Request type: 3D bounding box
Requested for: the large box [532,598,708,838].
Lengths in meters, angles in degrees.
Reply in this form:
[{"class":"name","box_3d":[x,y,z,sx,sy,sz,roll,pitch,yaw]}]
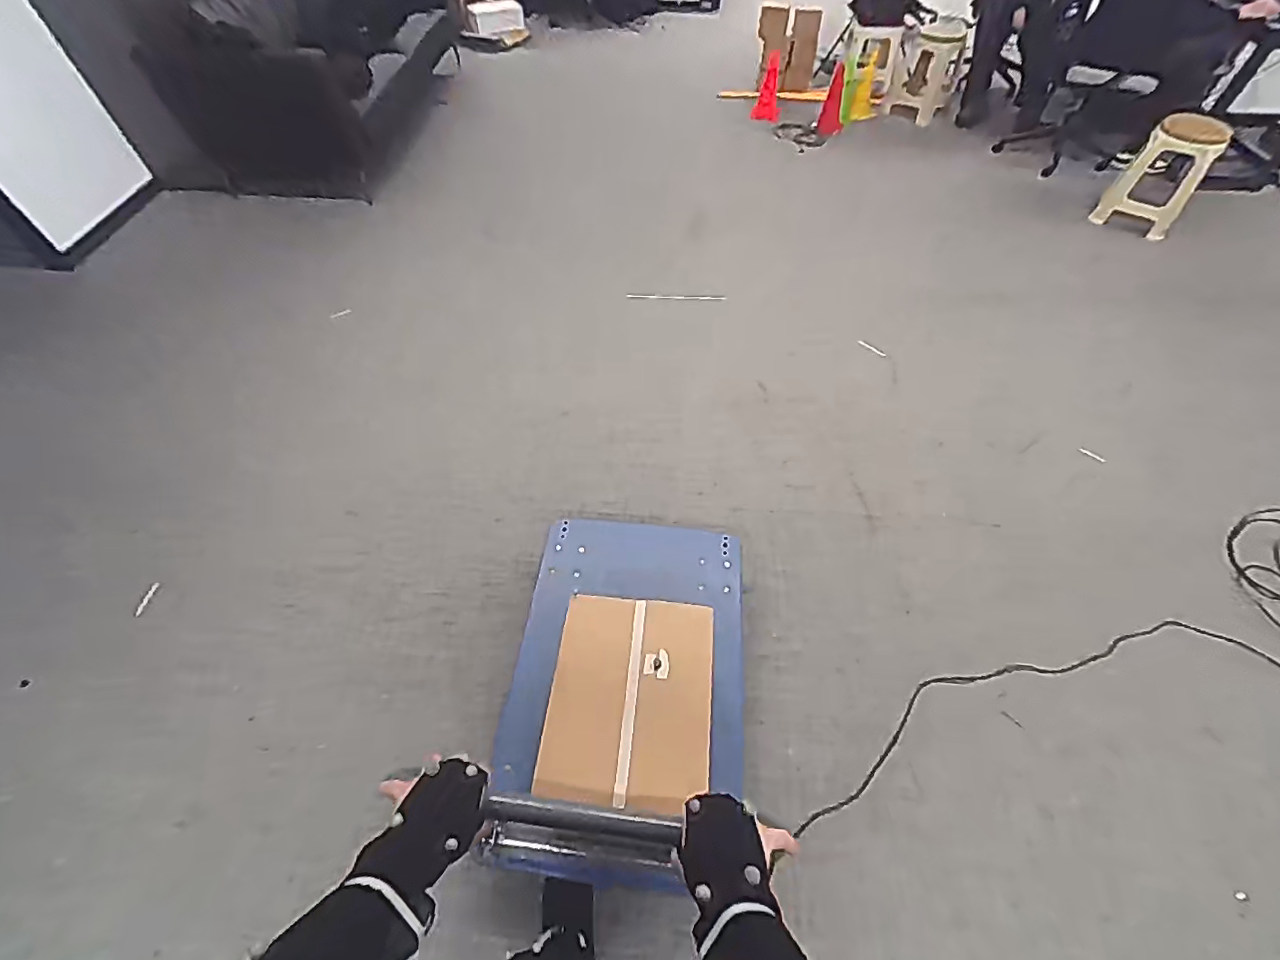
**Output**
[{"class":"large box","box_3d":[-0.024,0.516,1.173,0.320,0.320,0.408,5,52,3]}]
